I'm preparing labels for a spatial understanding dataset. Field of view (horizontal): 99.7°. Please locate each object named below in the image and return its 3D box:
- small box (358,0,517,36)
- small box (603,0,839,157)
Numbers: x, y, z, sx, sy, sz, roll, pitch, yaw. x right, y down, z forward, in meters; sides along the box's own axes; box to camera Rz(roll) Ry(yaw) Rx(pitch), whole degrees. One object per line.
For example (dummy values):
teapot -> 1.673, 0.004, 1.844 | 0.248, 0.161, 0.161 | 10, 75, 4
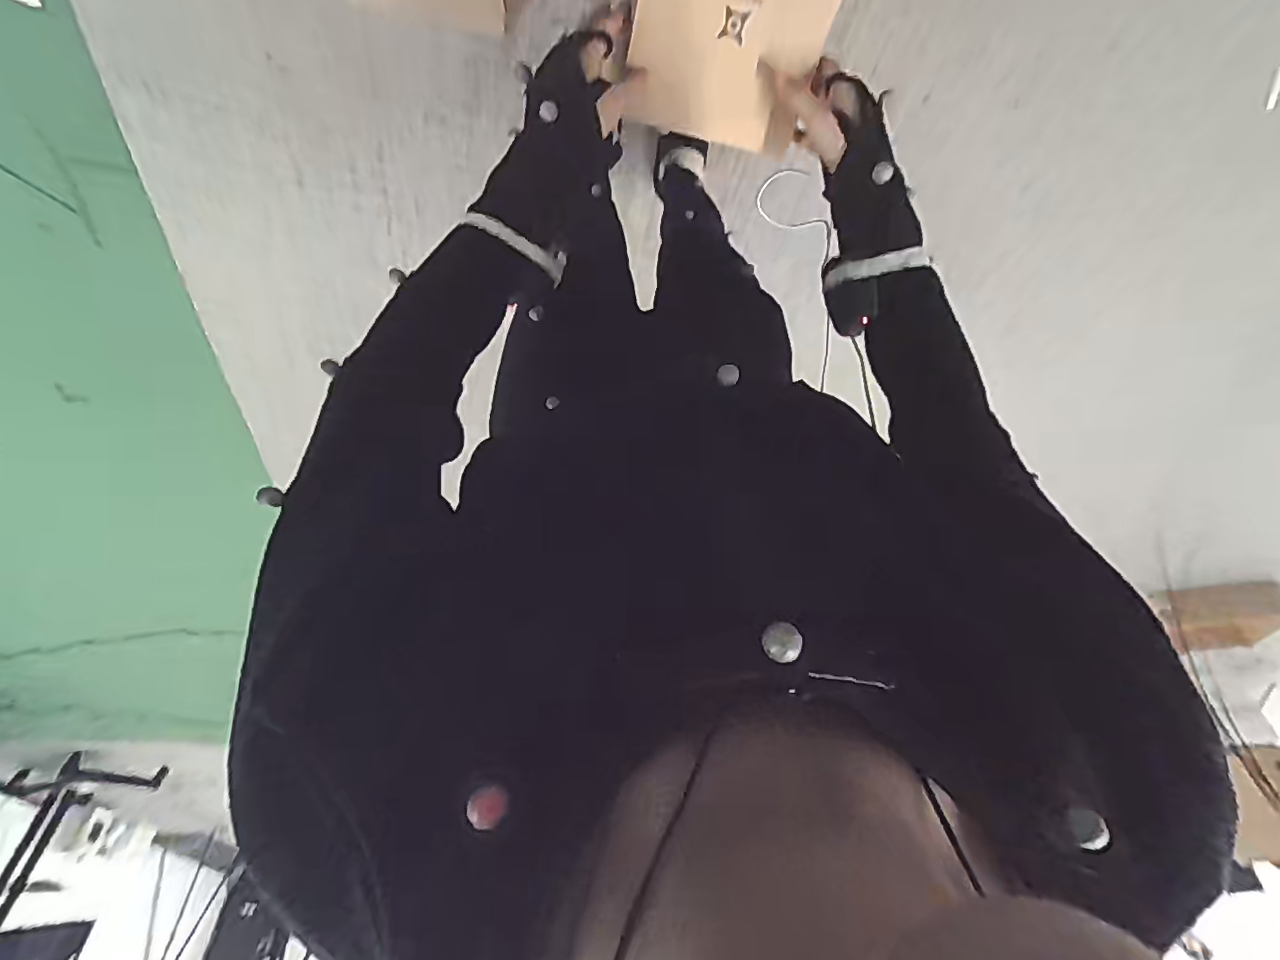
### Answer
small box -> -0.228, -0.636, 0.606 | 0.179, 0.176, 0.168 | 7, 137, -9
small box -> 0.064, -0.427, 0.489 | 0.168, 0.176, 0.179 | 5, 131, -15
